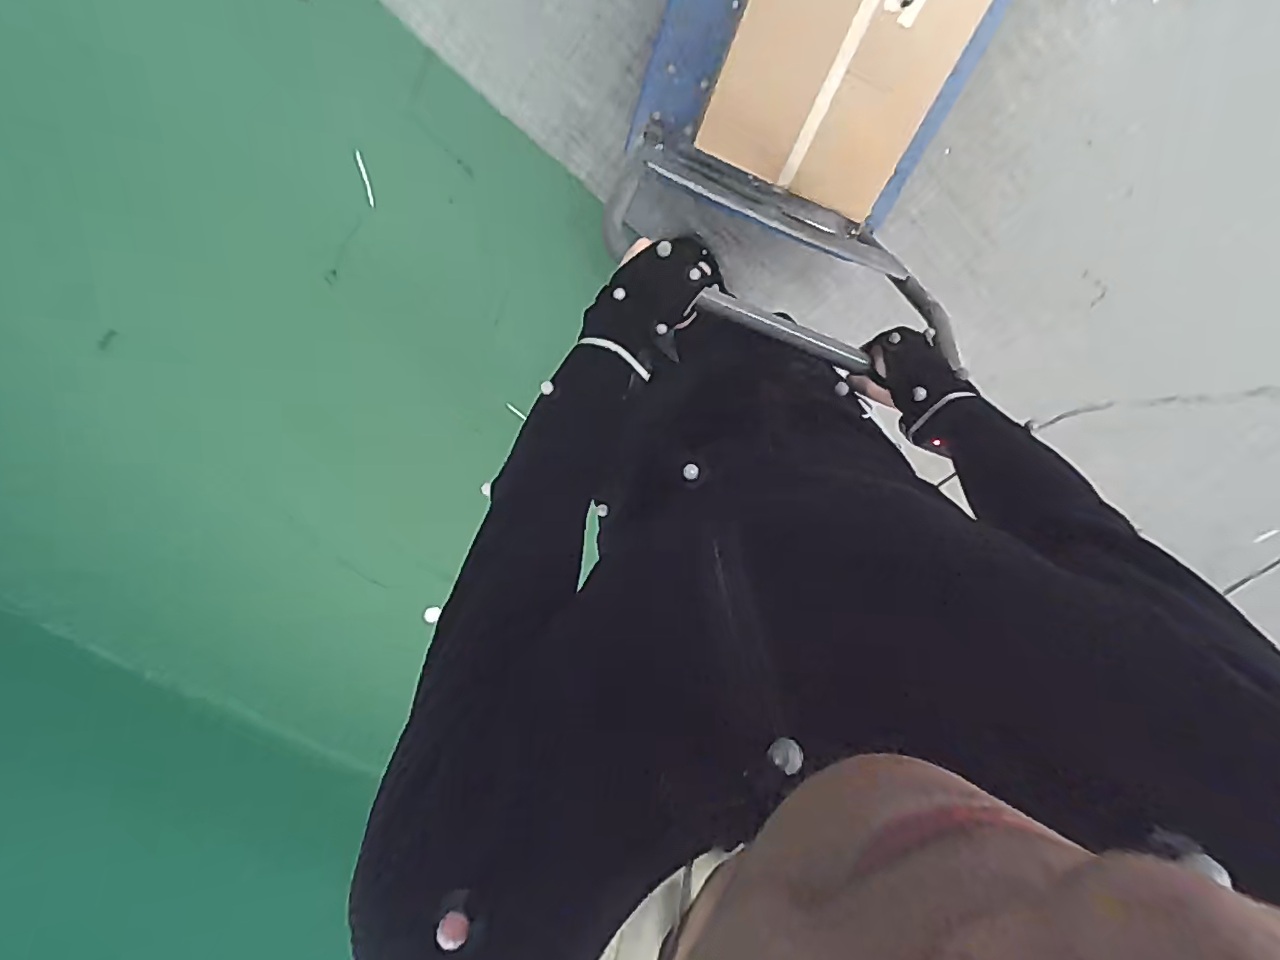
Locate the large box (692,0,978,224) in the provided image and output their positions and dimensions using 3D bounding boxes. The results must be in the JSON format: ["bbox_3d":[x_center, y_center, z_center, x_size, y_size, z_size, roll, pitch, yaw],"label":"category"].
[{"bbox_3d":[0.304,-0.718,0.924,0.320,0.320,0.408,20,123,-9],"label":"large box"}]
